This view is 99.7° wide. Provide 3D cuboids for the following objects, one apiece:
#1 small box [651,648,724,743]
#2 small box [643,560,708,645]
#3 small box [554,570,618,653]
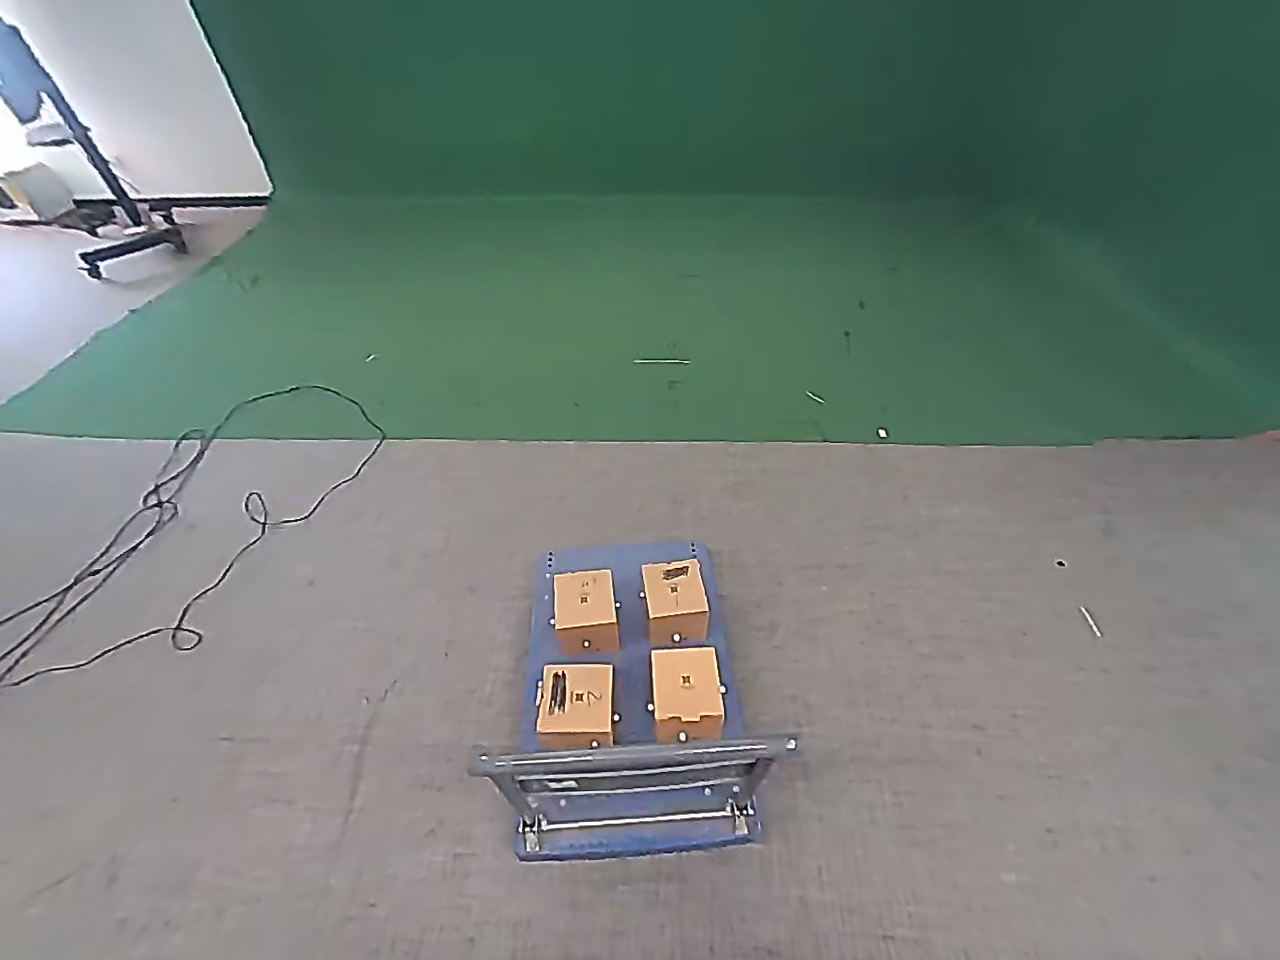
[{"bbox_3d":[0.114,0.552,1.386,0.168,0.176,0.179,-2,47,-1],"label":"small box"},{"bbox_3d":[0.097,0.357,1.572,0.168,0.176,0.179,-6,47,-4],"label":"small box"},{"bbox_3d":[-0.154,0.383,1.552,0.168,0.176,0.179,-5,46,-5],"label":"small box"}]
